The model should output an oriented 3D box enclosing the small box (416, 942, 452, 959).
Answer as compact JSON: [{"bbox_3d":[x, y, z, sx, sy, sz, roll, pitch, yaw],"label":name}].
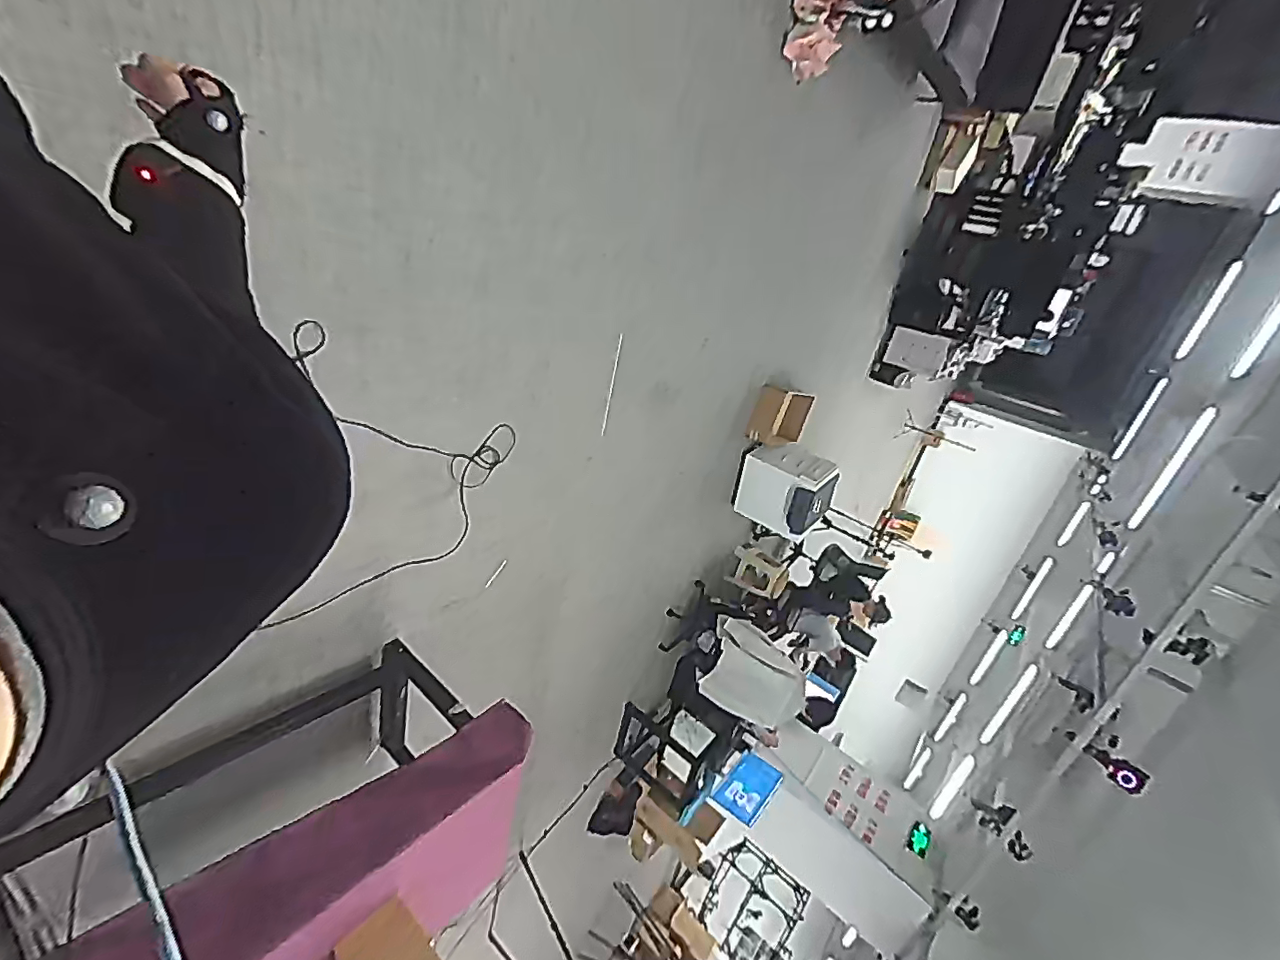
[{"bbox_3d":[-0.534,1.326,1.355,0.168,0.176,0.179,-22,132,-47],"label":"small box"}]

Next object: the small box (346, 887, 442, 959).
[{"bbox_3d":[-0.652,1.245,1.438,0.179,0.176,0.168,-21,132,-46],"label":"small box"}]
